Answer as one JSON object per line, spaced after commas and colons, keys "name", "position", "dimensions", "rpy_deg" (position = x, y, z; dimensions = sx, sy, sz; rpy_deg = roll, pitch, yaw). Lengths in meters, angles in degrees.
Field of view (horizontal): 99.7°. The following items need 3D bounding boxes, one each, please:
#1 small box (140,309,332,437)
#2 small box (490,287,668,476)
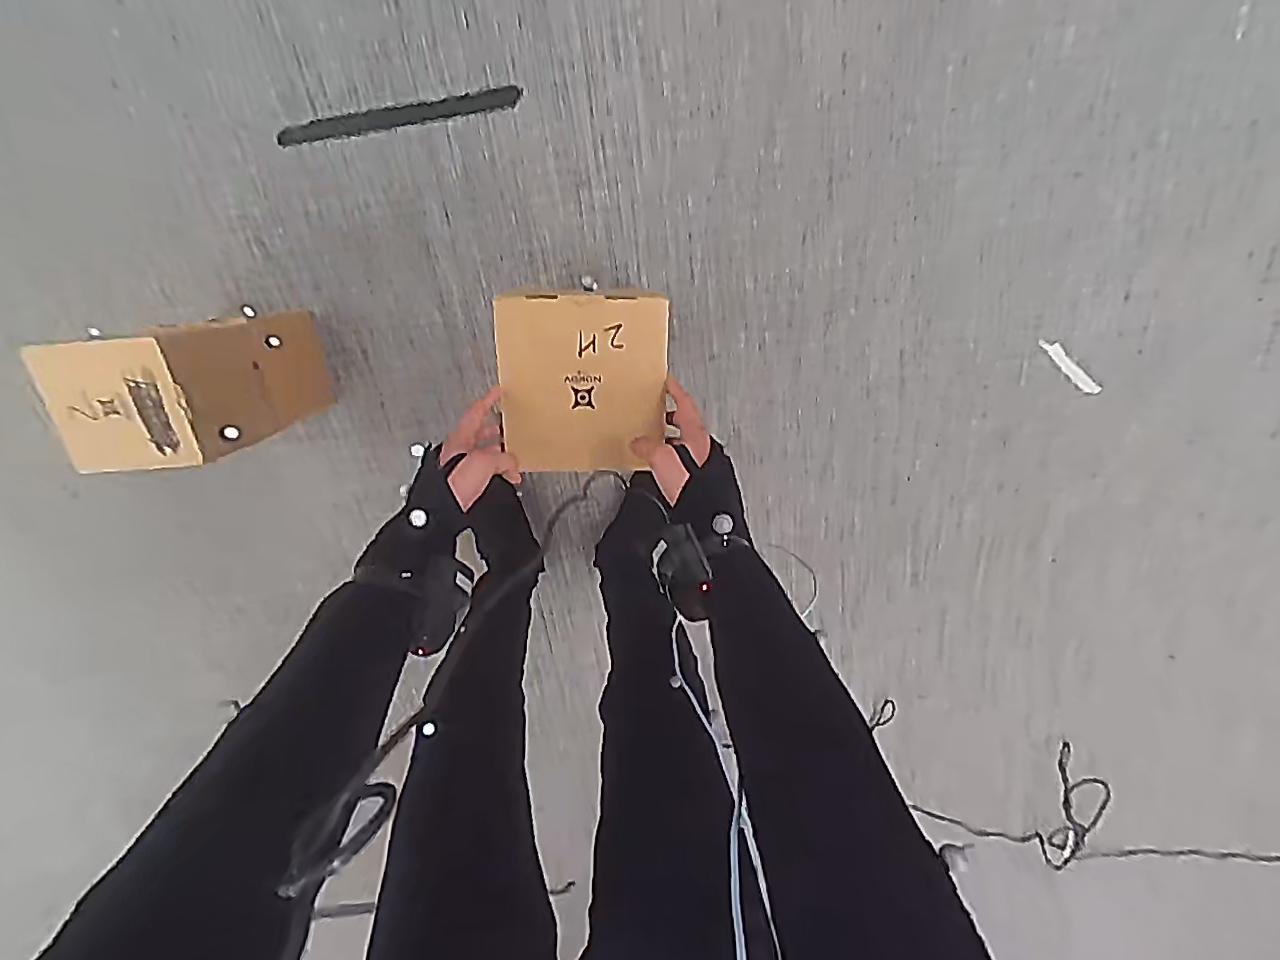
{"name": "small box", "position": [-0.652, -0.183, 0.901], "dimensions": [0.168, 0.176, 0.179], "rpy_deg": [-5, 110, 2]}
{"name": "small box", "position": [-0.062, -0.115, 0.599], "dimensions": [0.168, 0.176, 0.179], "rpy_deg": [0, 112, -4]}
